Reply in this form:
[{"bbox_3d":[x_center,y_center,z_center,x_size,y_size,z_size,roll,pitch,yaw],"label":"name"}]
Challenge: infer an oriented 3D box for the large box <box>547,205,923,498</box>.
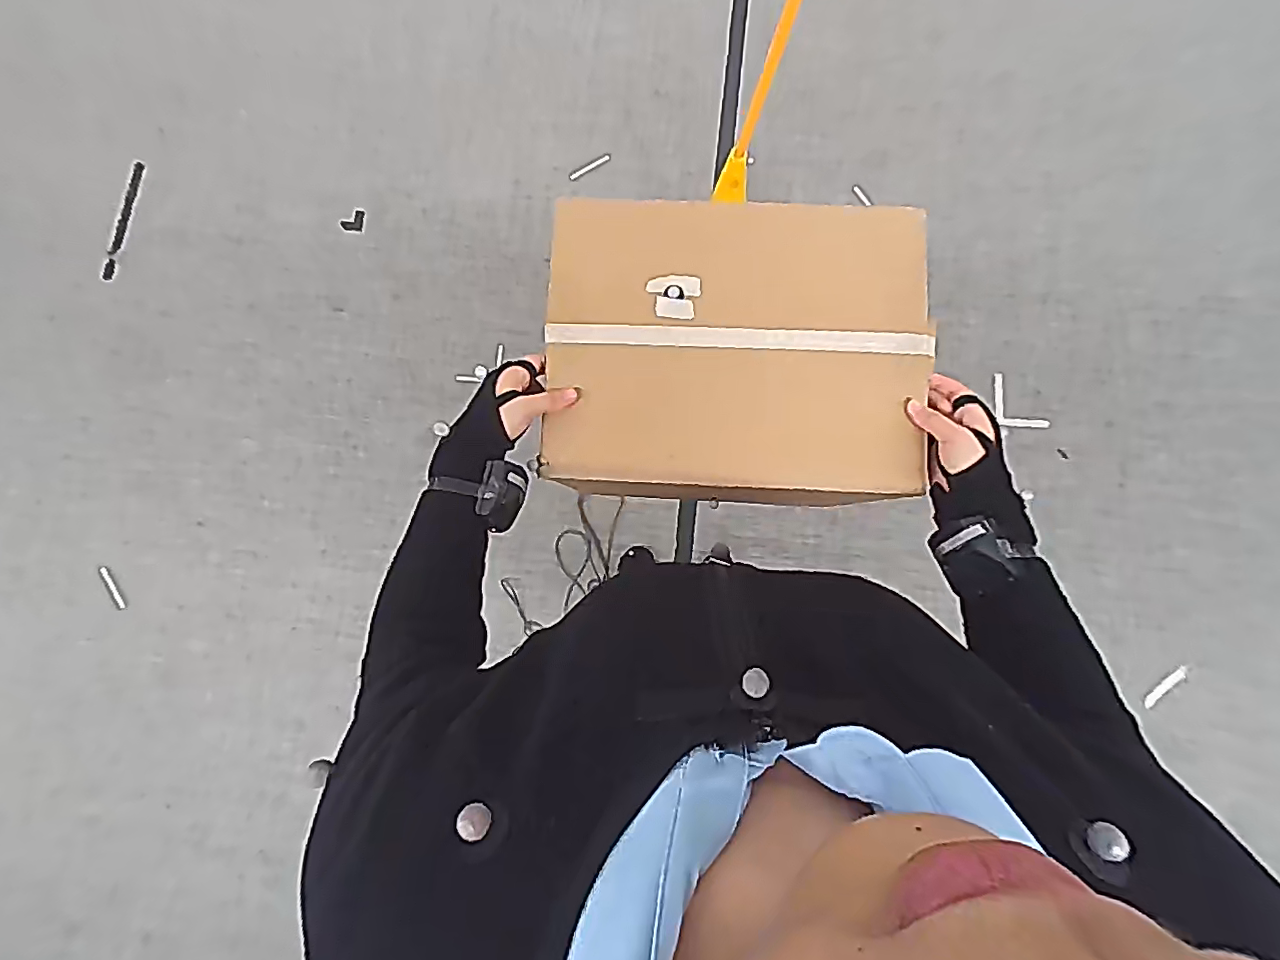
[{"bbox_3d":[0.111,-0.138,0.735,0.408,0.320,0.320,2,84,4],"label":"large box"}]
